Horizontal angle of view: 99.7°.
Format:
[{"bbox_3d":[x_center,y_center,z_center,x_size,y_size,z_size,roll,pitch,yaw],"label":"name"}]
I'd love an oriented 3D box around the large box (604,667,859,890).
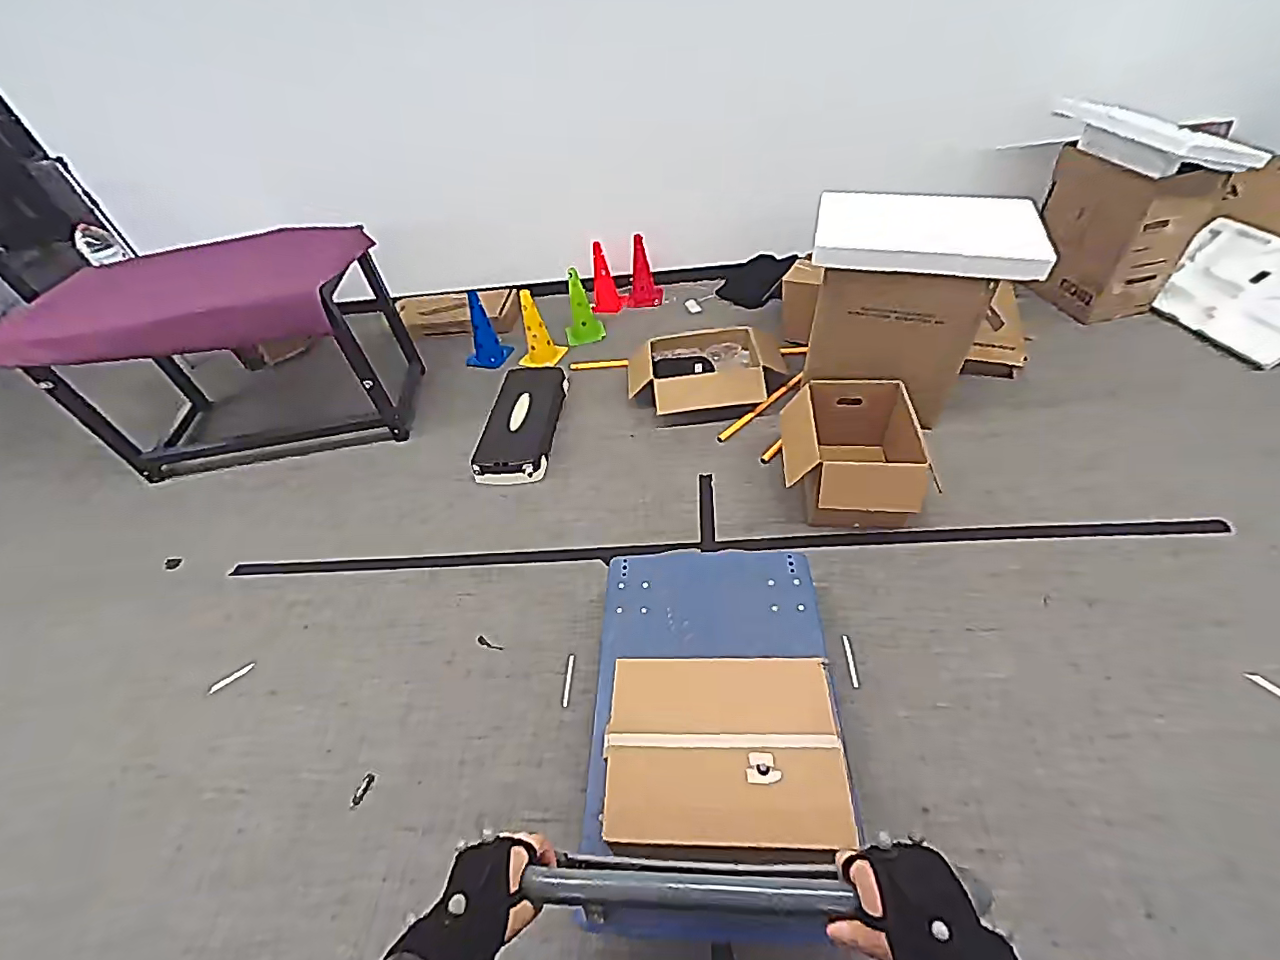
[{"bbox_3d":[0.155,0.579,1.049,0.408,0.320,0.320,-2,46,5],"label":"large box"}]
